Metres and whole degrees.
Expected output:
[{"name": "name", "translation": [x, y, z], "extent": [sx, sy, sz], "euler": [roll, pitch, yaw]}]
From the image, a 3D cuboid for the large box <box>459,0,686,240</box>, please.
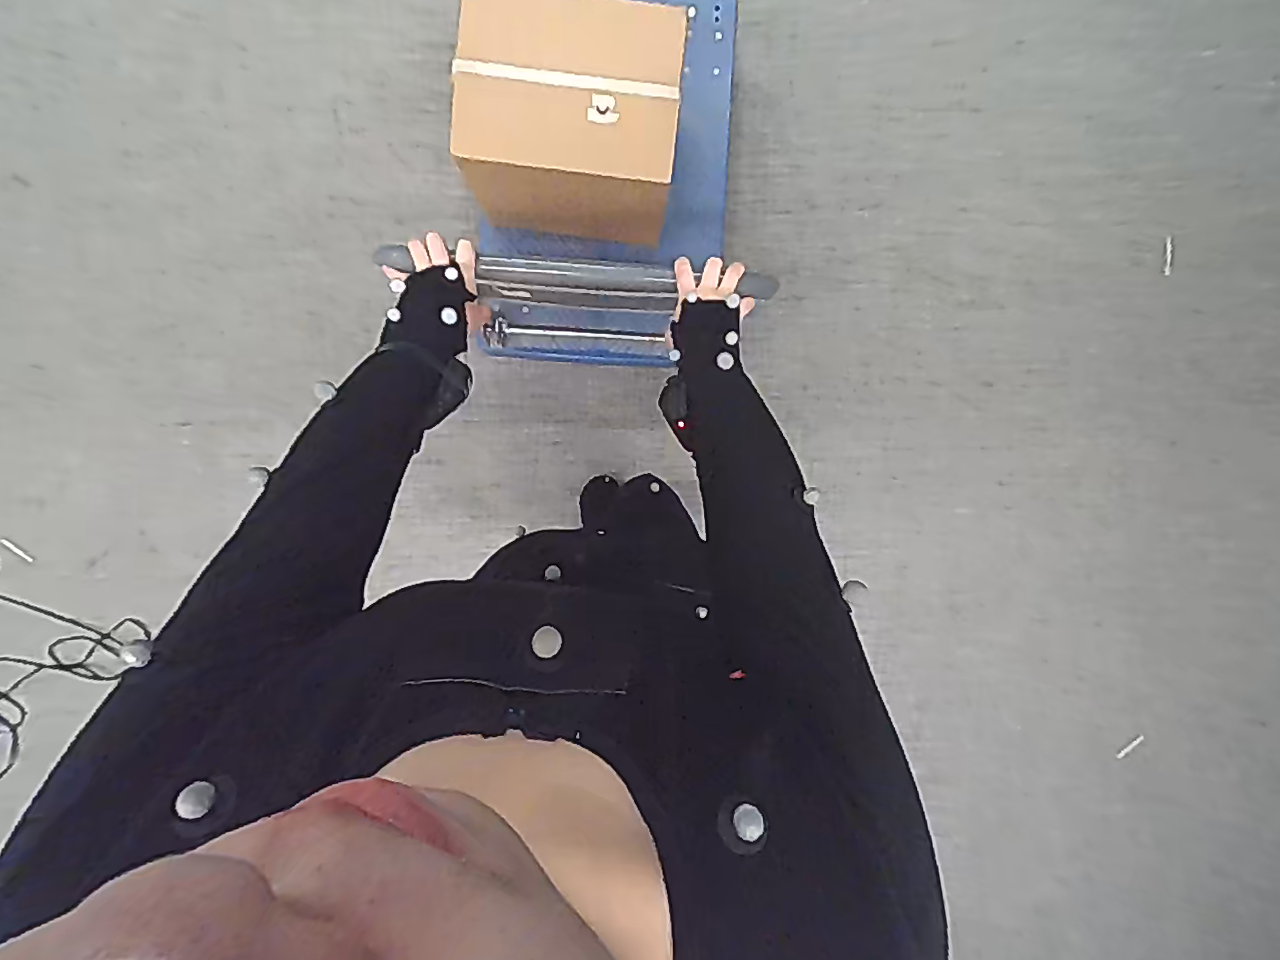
[{"name": "large box", "translation": [-0.134, -0.737, 1.142], "extent": [0.408, 0.320, 0.320], "euler": [5, 93, -3]}]
